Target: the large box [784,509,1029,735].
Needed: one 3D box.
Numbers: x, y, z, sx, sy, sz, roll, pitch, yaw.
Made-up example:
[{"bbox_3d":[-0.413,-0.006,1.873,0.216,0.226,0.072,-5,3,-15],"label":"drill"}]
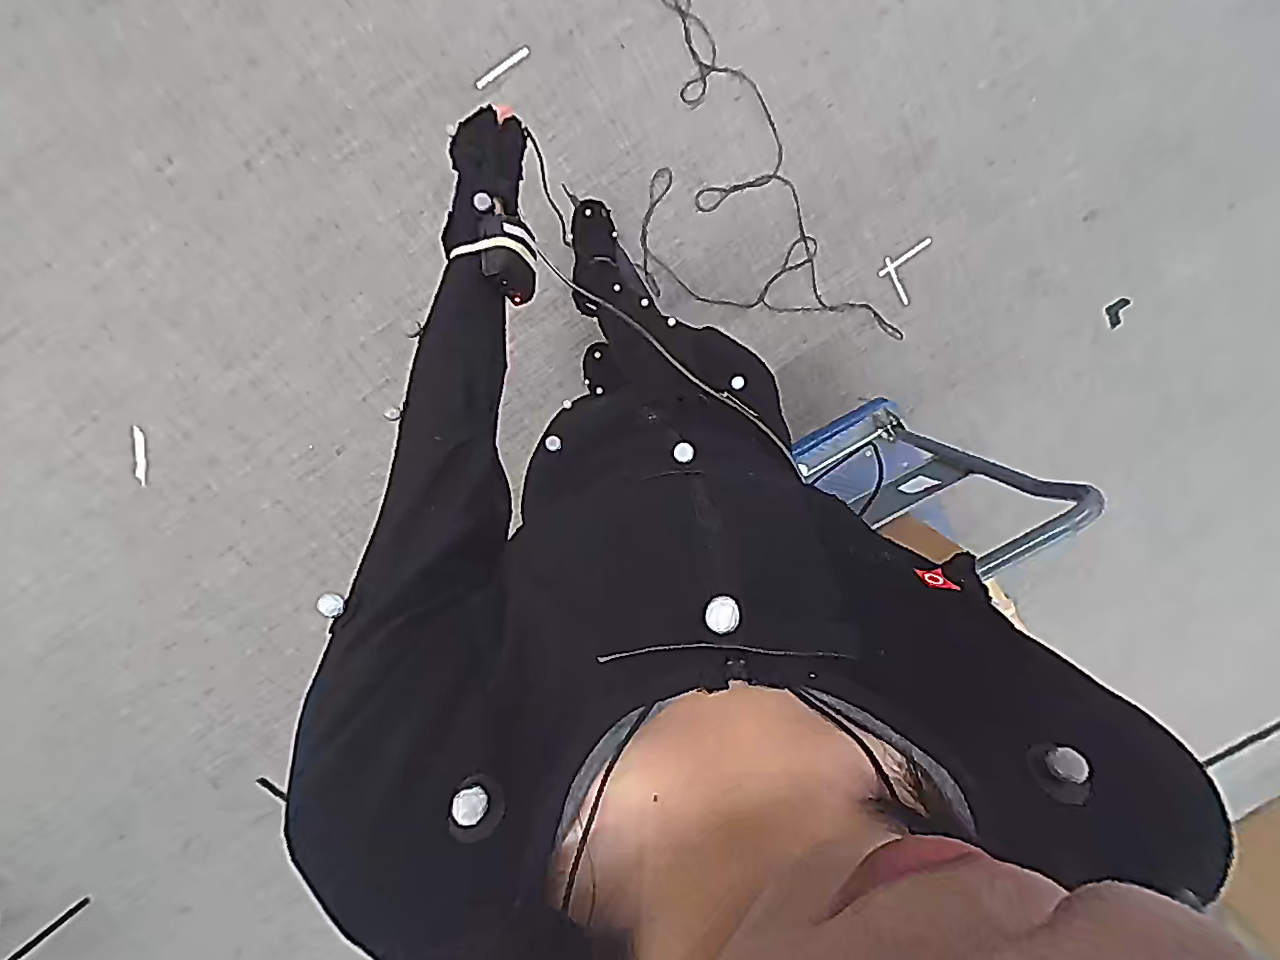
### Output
[{"bbox_3d":[0.656,0.346,1.386,0.408,0.320,0.320,-37,107,8],"label":"large box"}]
